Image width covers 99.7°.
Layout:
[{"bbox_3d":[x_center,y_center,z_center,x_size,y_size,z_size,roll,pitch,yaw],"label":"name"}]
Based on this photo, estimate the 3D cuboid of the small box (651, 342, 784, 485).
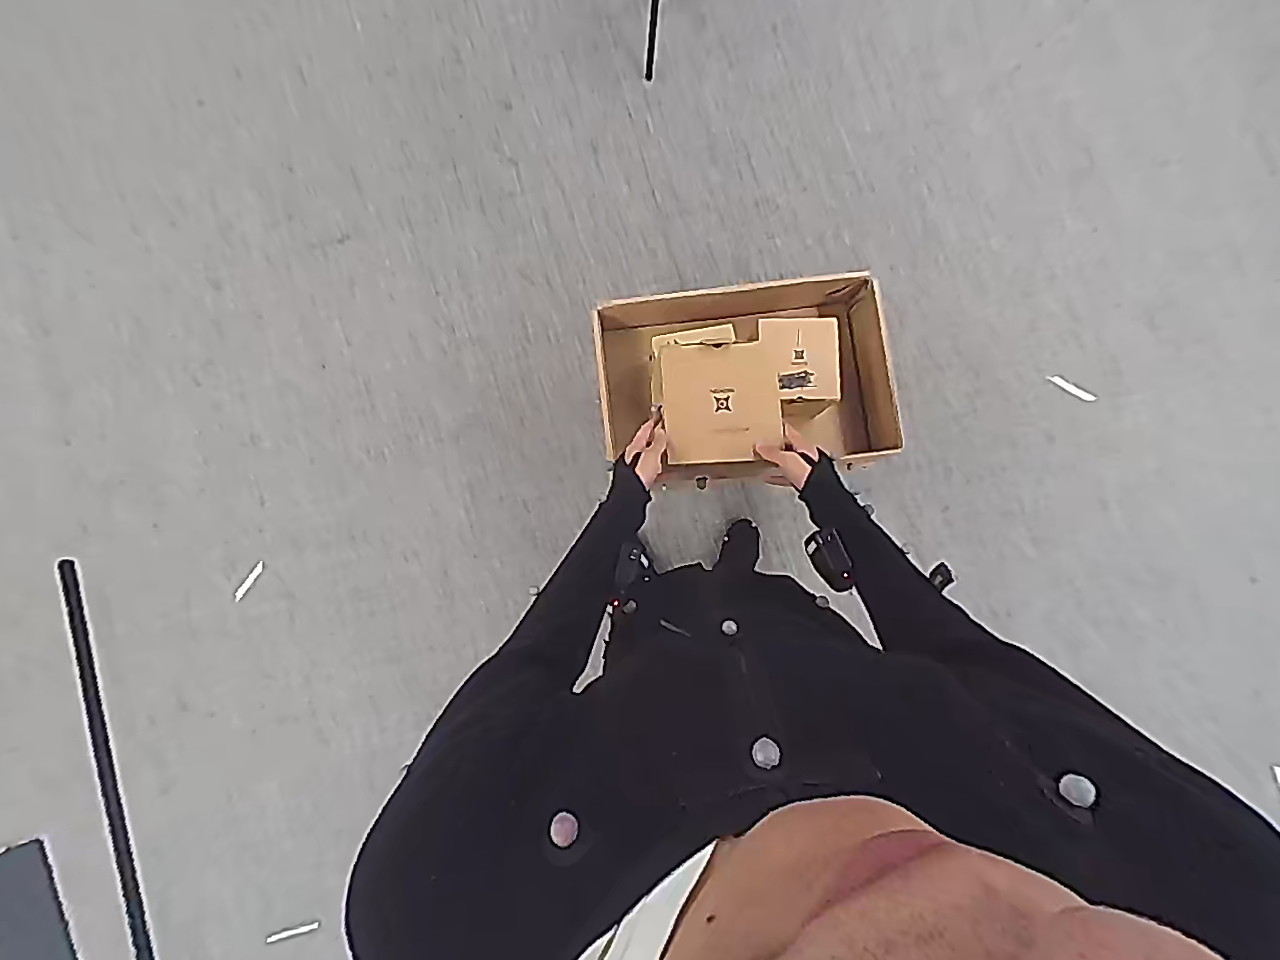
[{"bbox_3d":[0.108,-0.094,0.828,0.168,0.176,0.179,-3,80,-3],"label":"small box"}]
